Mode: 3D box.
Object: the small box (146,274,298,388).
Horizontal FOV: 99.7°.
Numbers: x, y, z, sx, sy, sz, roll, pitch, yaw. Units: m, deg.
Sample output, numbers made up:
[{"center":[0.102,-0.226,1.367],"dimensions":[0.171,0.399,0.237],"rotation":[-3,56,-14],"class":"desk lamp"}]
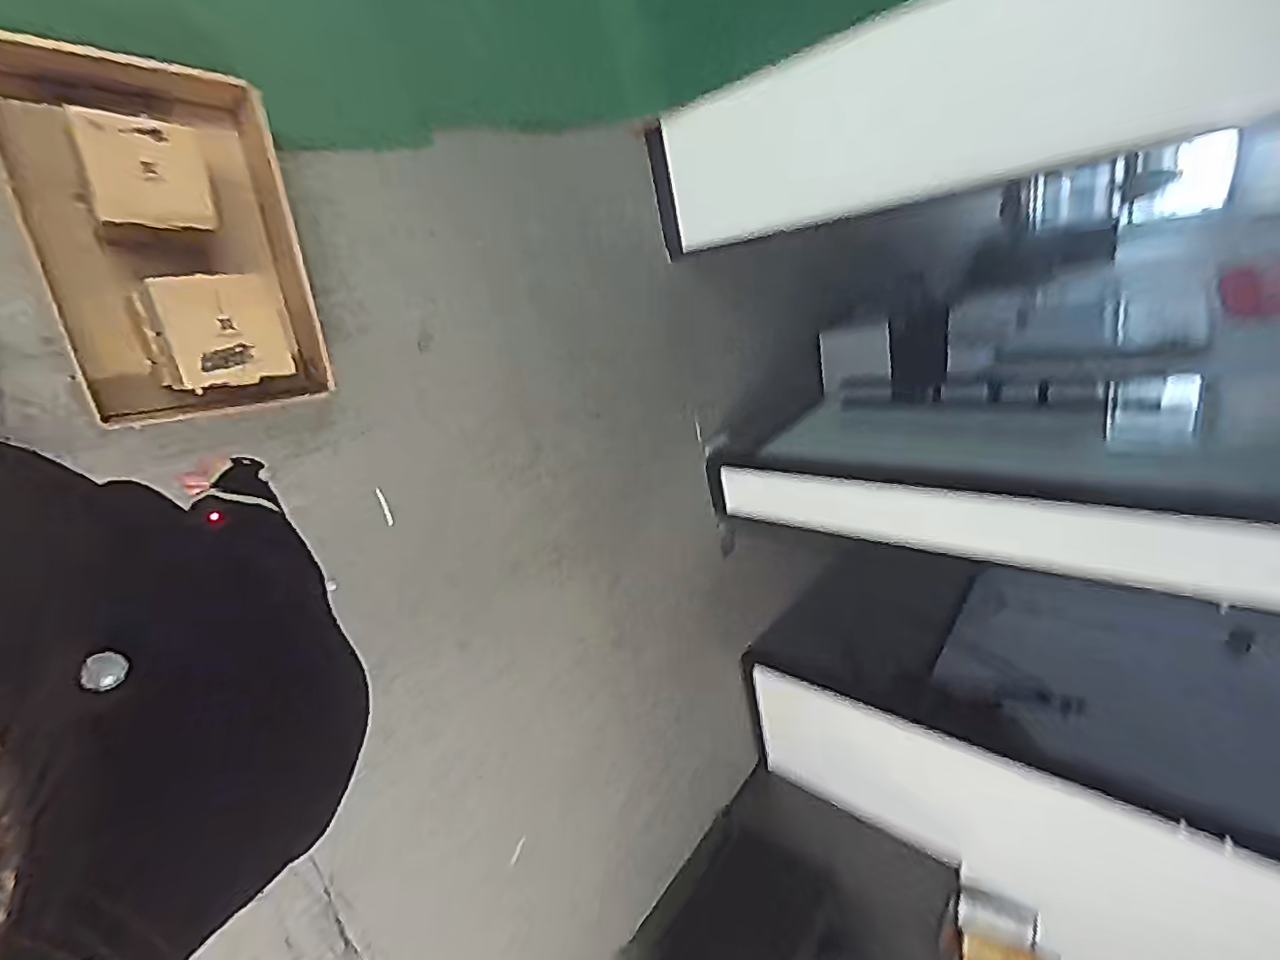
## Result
[{"center":[-0.752,-0.267,0.974],"dimensions":[0.168,0.176,0.179],"rotation":[-24,113,-42],"class":"small box"}]
